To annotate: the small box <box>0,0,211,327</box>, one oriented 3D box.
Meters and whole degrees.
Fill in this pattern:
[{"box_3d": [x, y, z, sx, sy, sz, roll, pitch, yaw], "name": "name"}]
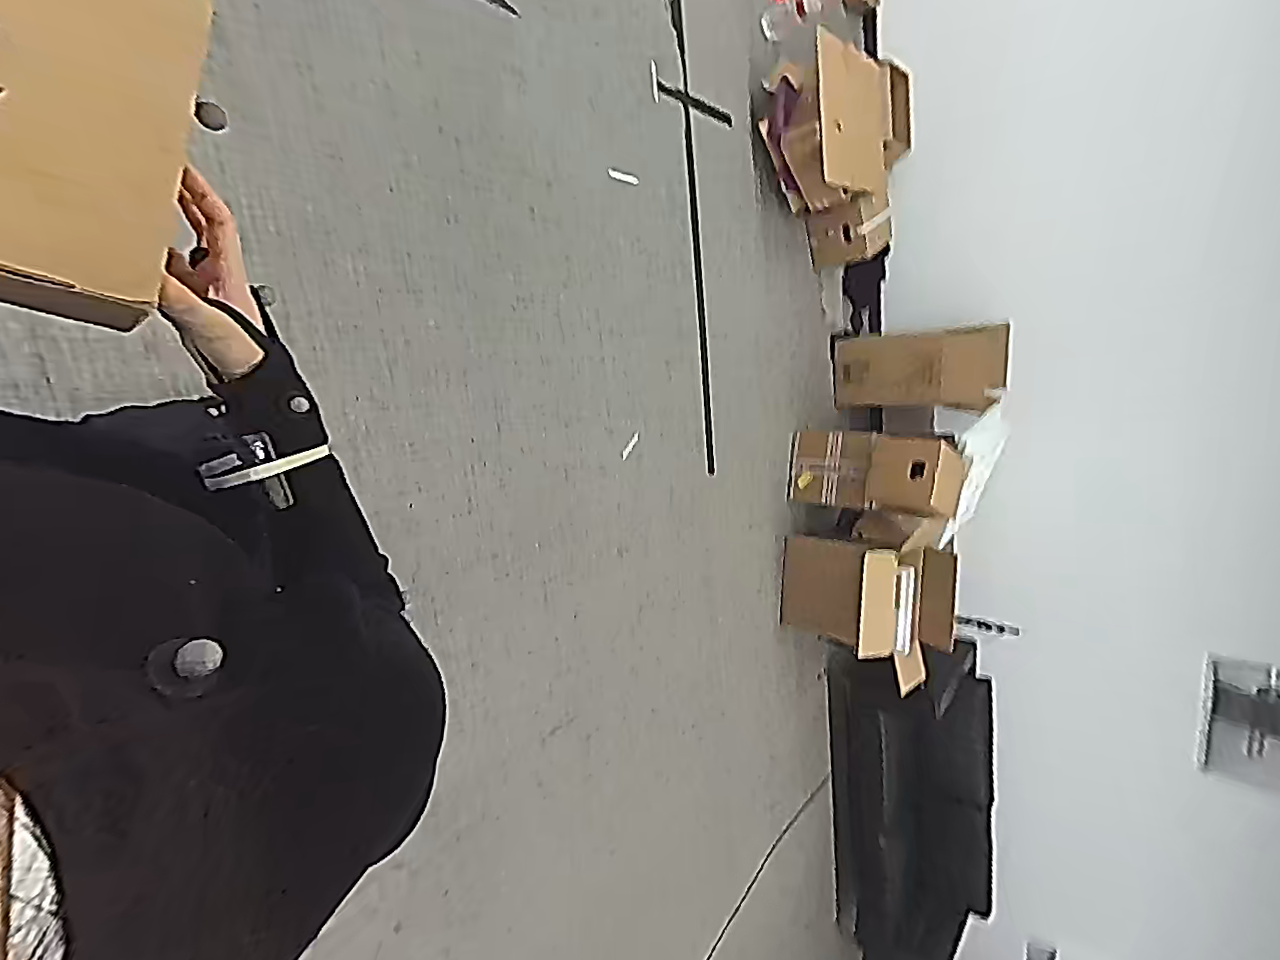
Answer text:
[{"box_3d": [-0.363, -0.197, 0.291, 0.168, 0.176, 0.179, 10, 89, -47], "name": "small box"}]
